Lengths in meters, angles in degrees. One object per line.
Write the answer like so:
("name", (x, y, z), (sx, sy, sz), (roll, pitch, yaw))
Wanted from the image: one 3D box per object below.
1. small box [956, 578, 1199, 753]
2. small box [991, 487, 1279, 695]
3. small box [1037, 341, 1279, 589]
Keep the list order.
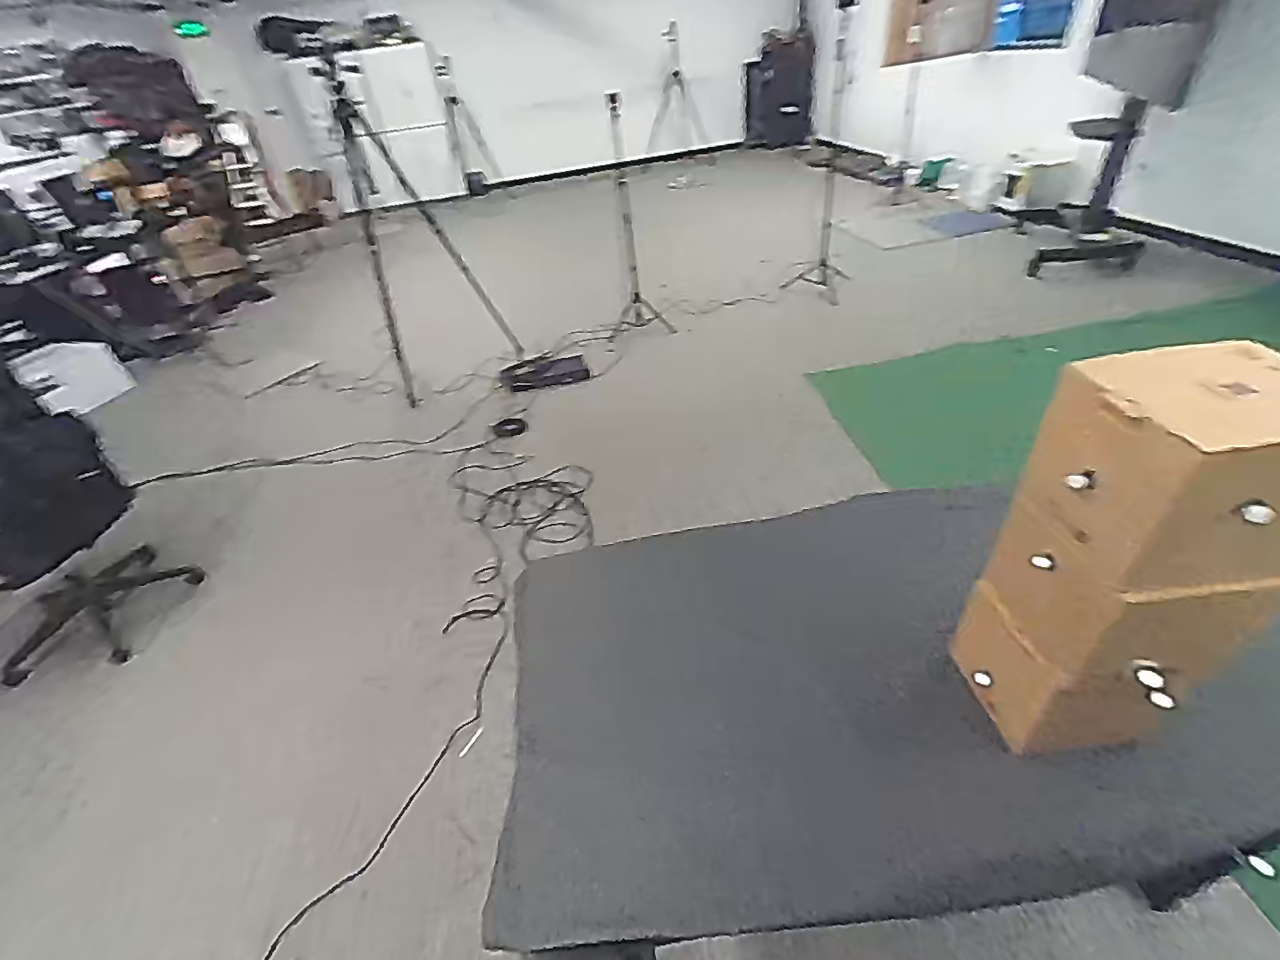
("small box", (0.564, 0.240, 0.724), (0.179, 0.176, 0.168), (-8, 37, 1))
("small box", (0.543, 0.117, 0.619), (0.168, 0.176, 0.179), (-8, 39, 3))
("small box", (0.524, -0.012, 0.520), (0.179, 0.176, 0.168), (-7, 38, 5))
